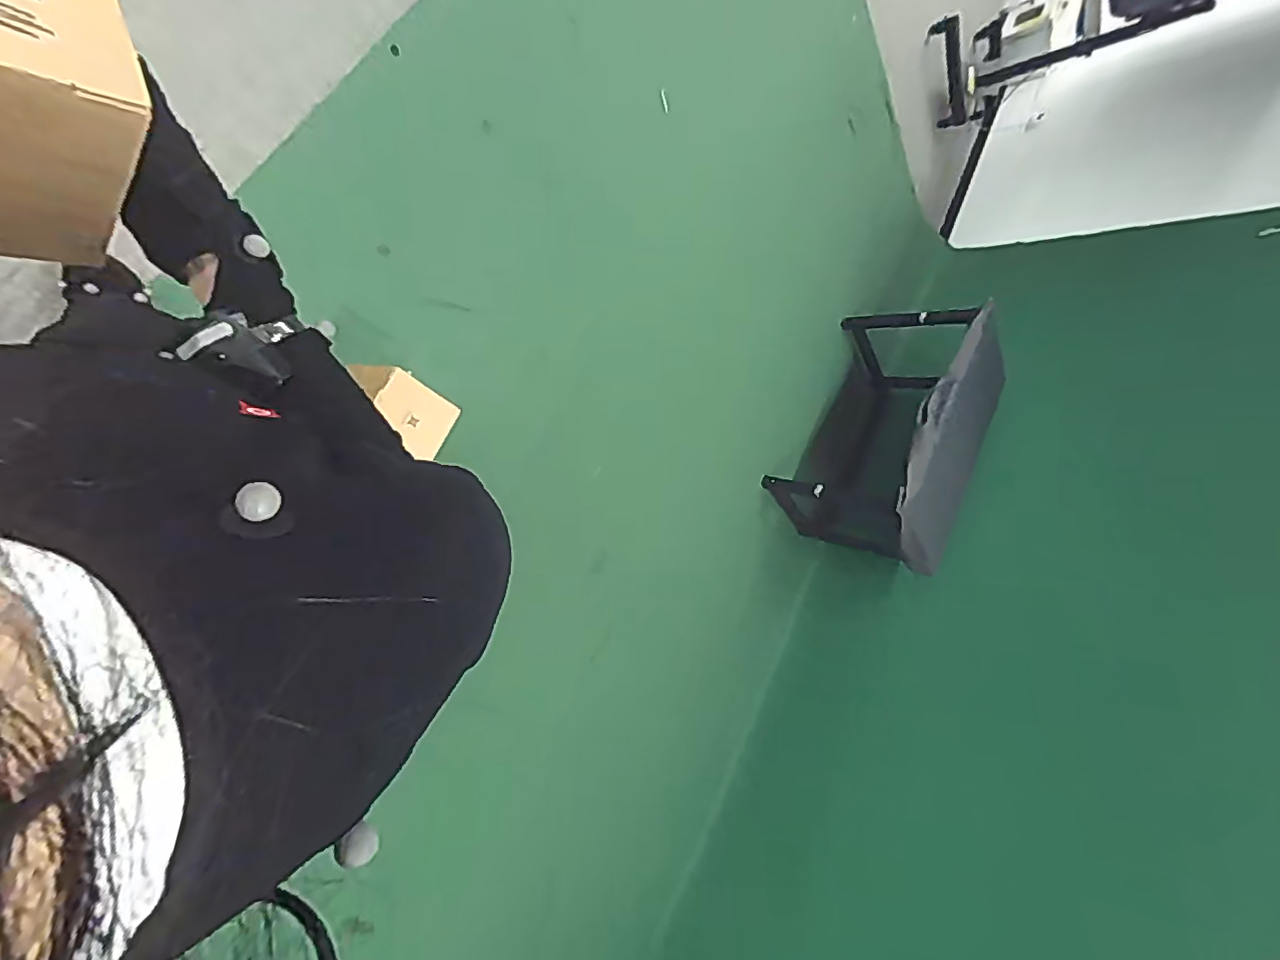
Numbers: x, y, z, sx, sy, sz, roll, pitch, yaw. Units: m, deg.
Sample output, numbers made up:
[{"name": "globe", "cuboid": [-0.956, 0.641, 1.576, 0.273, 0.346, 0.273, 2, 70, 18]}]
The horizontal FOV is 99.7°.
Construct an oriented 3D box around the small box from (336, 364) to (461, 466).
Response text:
[{"name": "small box", "cuboid": [-0.555, -0.153, 1.242, 0.179, 0.176, 0.168, 38, 72, -42]}]
